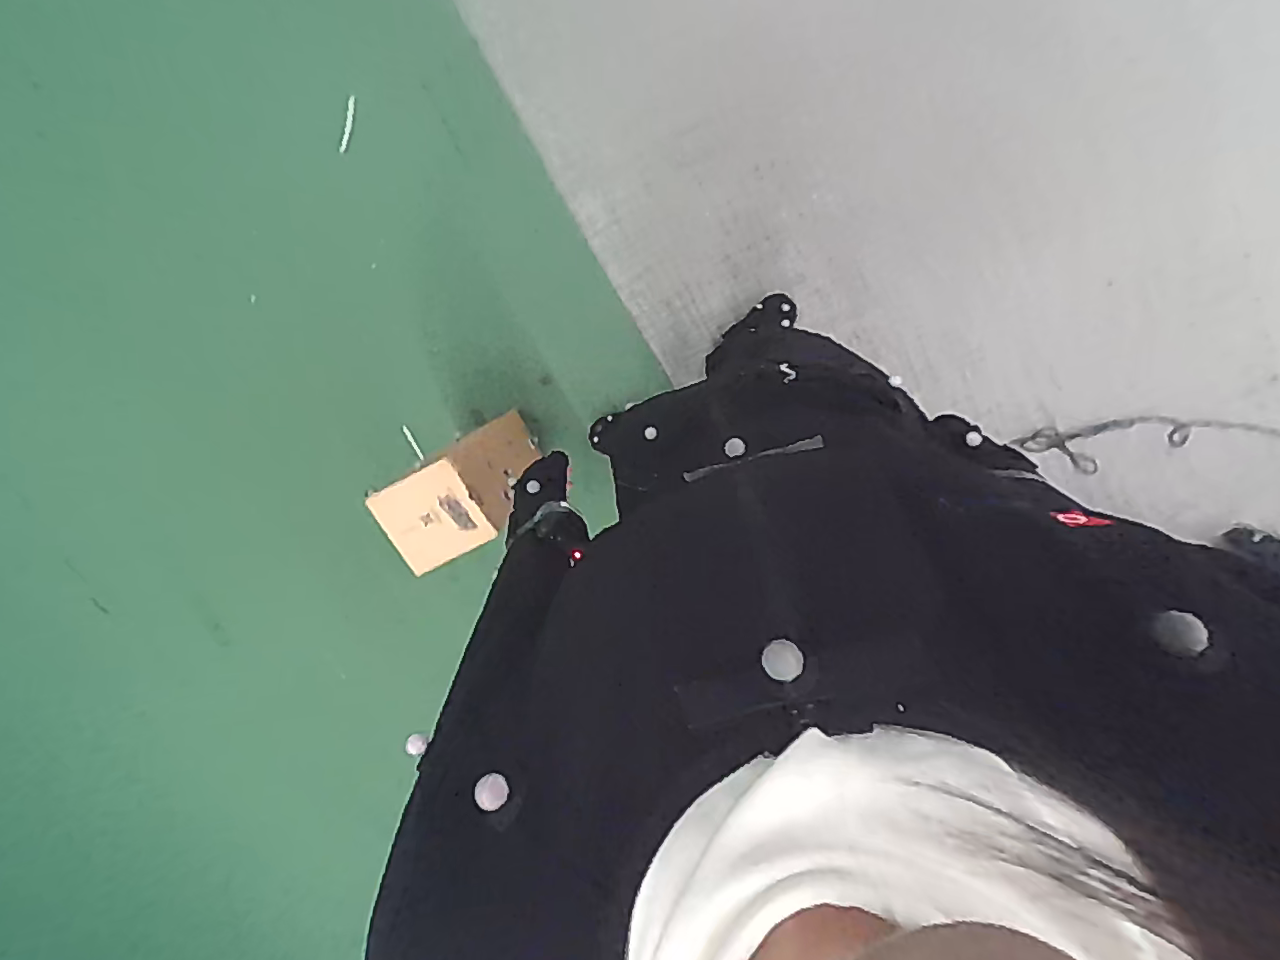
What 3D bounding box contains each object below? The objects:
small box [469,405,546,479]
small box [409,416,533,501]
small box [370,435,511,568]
[{"bbox_3d":[-0.355,-0.068,1.345,0.179,0.176,0.168,-28,106,7],"label":"small box"},{"bbox_3d":[-0.360,-0.021,1.188,0.179,0.176,0.168,-26,106,8],"label":"small box"},{"bbox_3d":[-0.364,0.033,1.032,0.179,0.176,0.168,-26,105,9],"label":"small box"}]
